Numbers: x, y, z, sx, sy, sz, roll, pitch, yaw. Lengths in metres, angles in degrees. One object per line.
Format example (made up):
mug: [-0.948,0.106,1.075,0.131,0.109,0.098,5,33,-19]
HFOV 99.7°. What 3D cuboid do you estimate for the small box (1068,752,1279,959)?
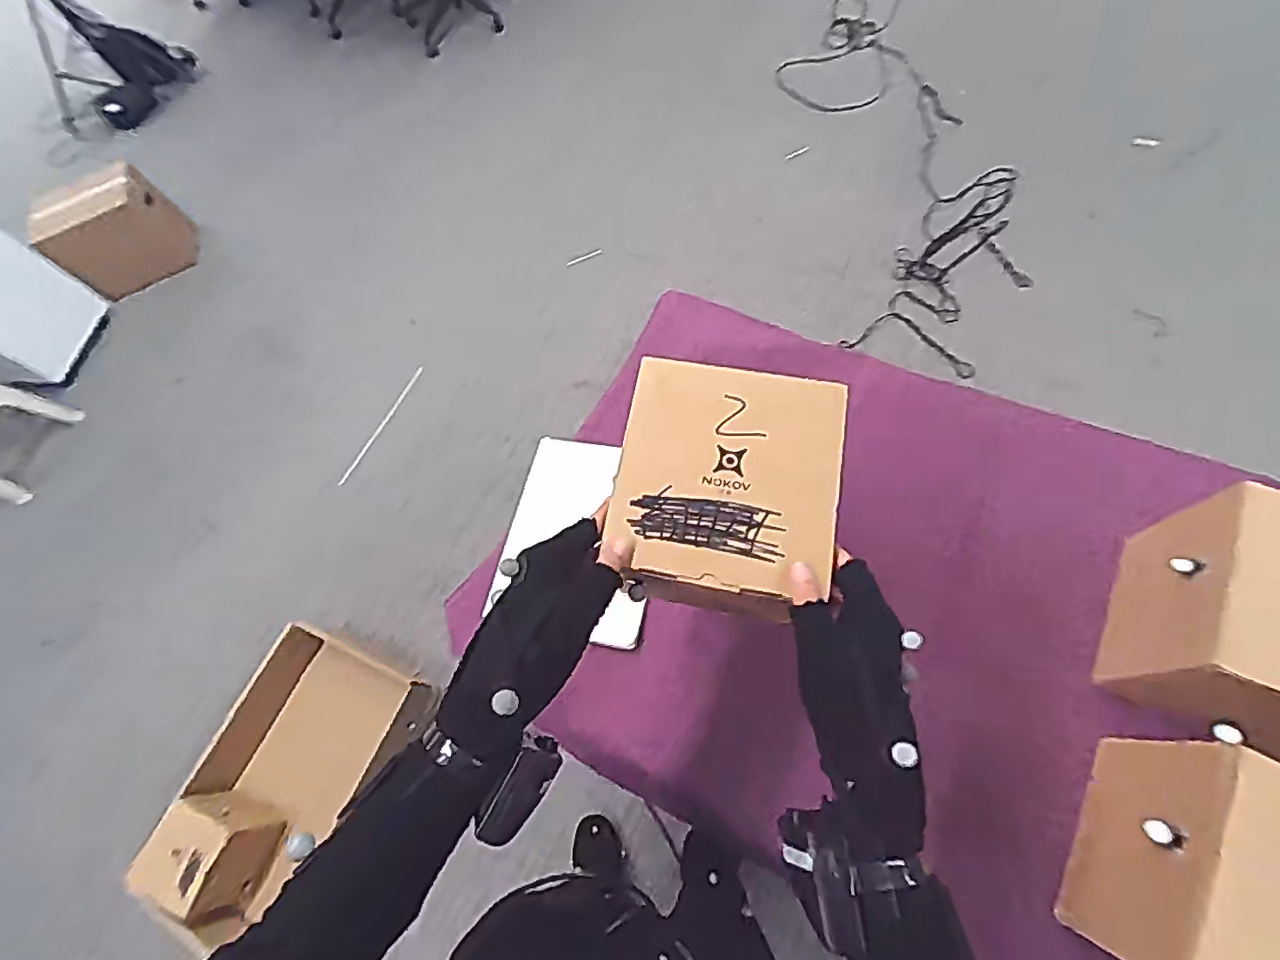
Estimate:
small box: [0.474,0.336,0.410,0.168,0.176,0.179,27,74,21]

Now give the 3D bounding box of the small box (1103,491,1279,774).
small box: [0.564,0.143,0.480,0.168,0.176,0.179,25,72,20]
